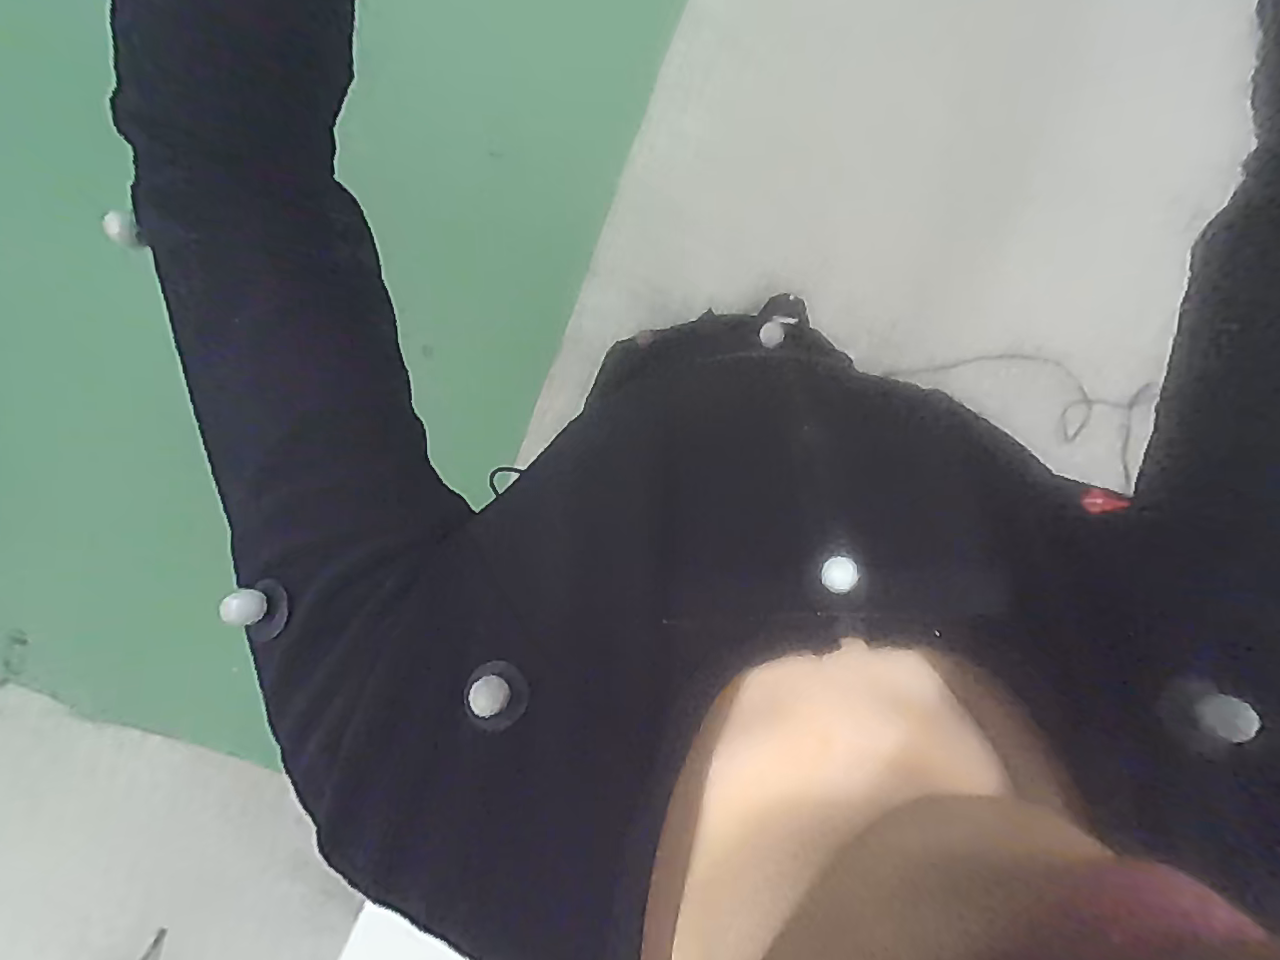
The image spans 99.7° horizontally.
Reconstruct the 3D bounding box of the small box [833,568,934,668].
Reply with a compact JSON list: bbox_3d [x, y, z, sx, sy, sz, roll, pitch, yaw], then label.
[{"bbox_3d":[0.655,0.372,1.484,0.168,0.176,0.179,23,103,-6],"label":"small box"}]
